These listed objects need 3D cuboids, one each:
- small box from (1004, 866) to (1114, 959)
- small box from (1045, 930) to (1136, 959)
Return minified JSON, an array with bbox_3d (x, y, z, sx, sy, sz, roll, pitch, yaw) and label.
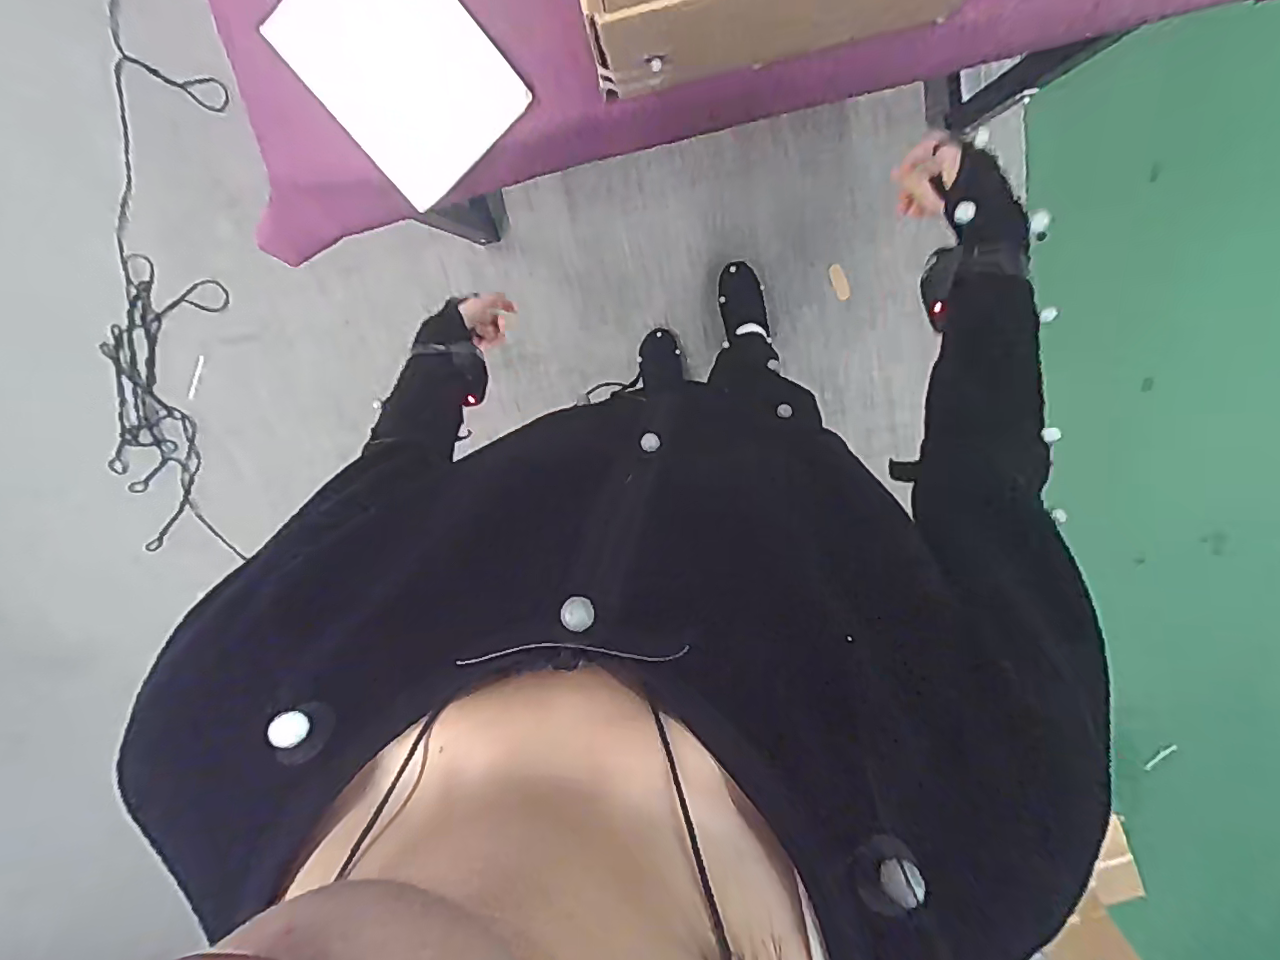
[{"bbox_3d":[1.060,1.114,1.360,0.168,0.176,0.179,-24,103,10],"label":"small box"},{"bbox_3d":[1.048,1.162,1.204,0.179,0.176,0.168,-26,102,10],"label":"small box"}]
